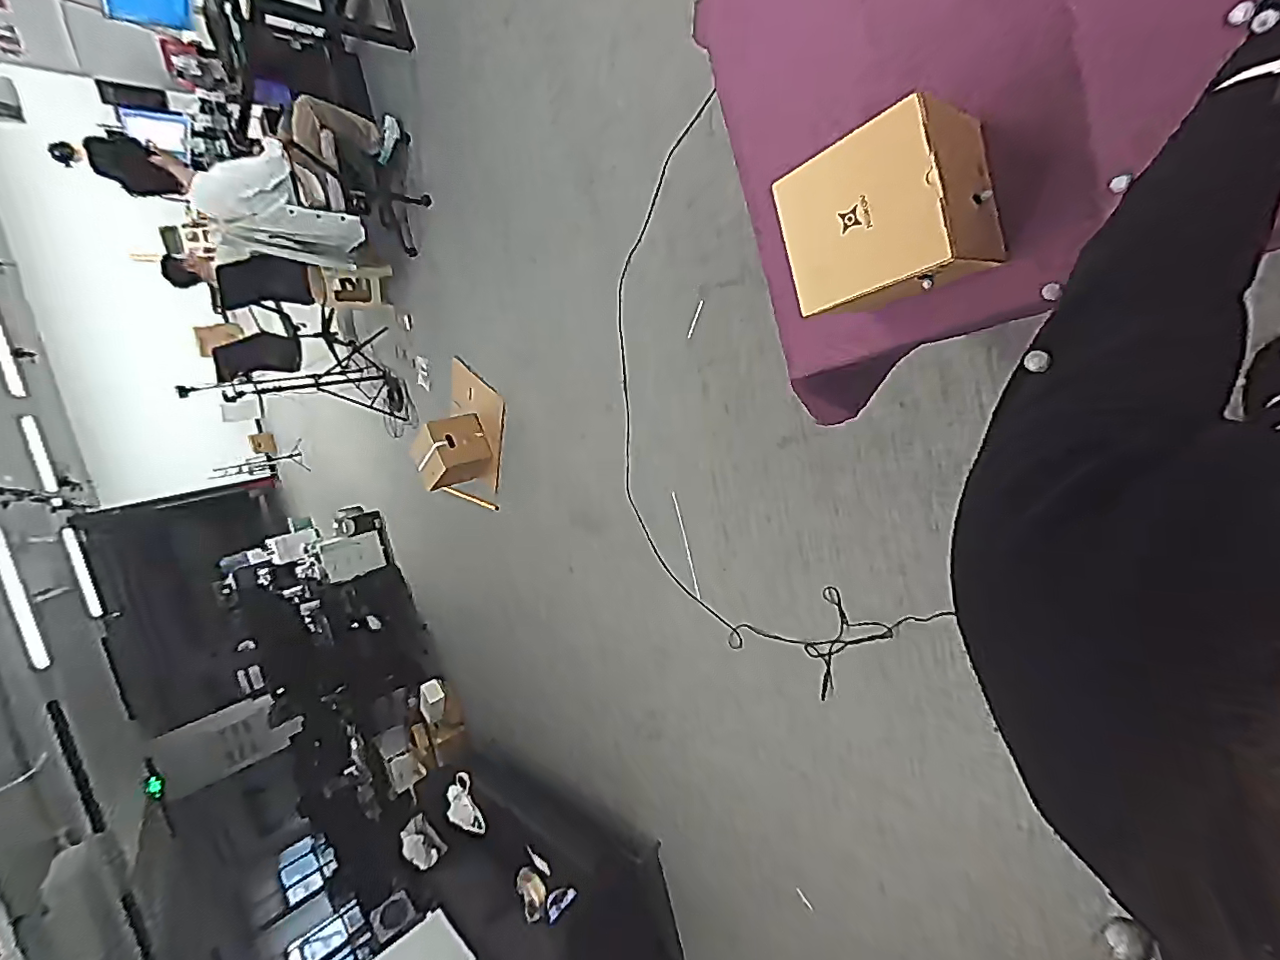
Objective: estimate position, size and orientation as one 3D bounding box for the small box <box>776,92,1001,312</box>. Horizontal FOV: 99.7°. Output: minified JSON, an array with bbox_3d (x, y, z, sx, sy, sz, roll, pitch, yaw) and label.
[{"bbox_3d":[0.297,-0.310,0.648,0.179,0.176,0.168,-10,96,49],"label":"small box"}]
